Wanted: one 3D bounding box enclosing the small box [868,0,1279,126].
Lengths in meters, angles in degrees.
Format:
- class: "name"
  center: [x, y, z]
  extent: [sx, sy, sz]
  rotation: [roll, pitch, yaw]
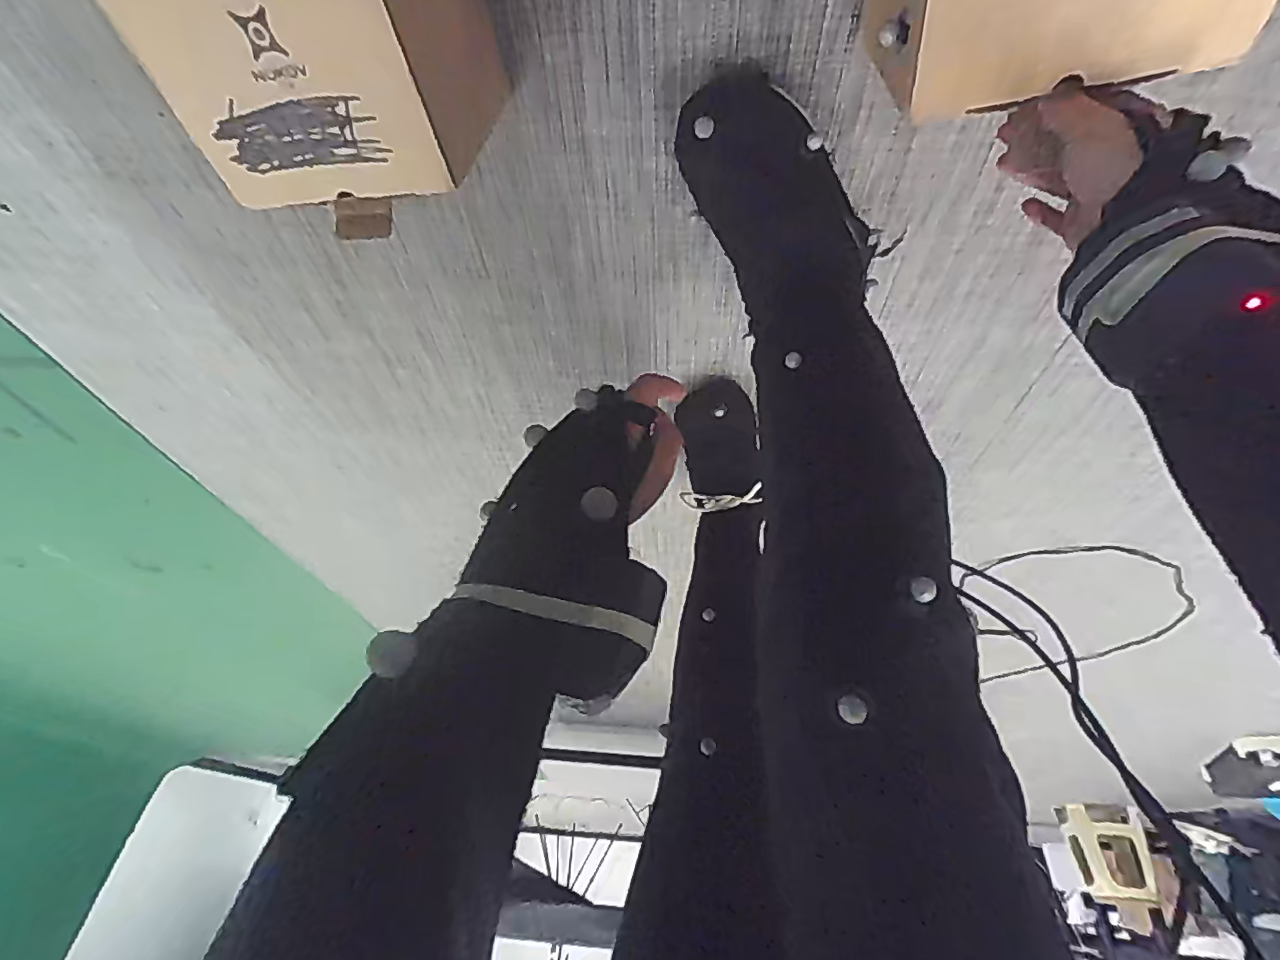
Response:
- class: "small box"
  center: [0.227, -0.328, 0.284]
  extent: [0.168, 0.176, 0.179]
  rotation: [-4, 142, 13]
